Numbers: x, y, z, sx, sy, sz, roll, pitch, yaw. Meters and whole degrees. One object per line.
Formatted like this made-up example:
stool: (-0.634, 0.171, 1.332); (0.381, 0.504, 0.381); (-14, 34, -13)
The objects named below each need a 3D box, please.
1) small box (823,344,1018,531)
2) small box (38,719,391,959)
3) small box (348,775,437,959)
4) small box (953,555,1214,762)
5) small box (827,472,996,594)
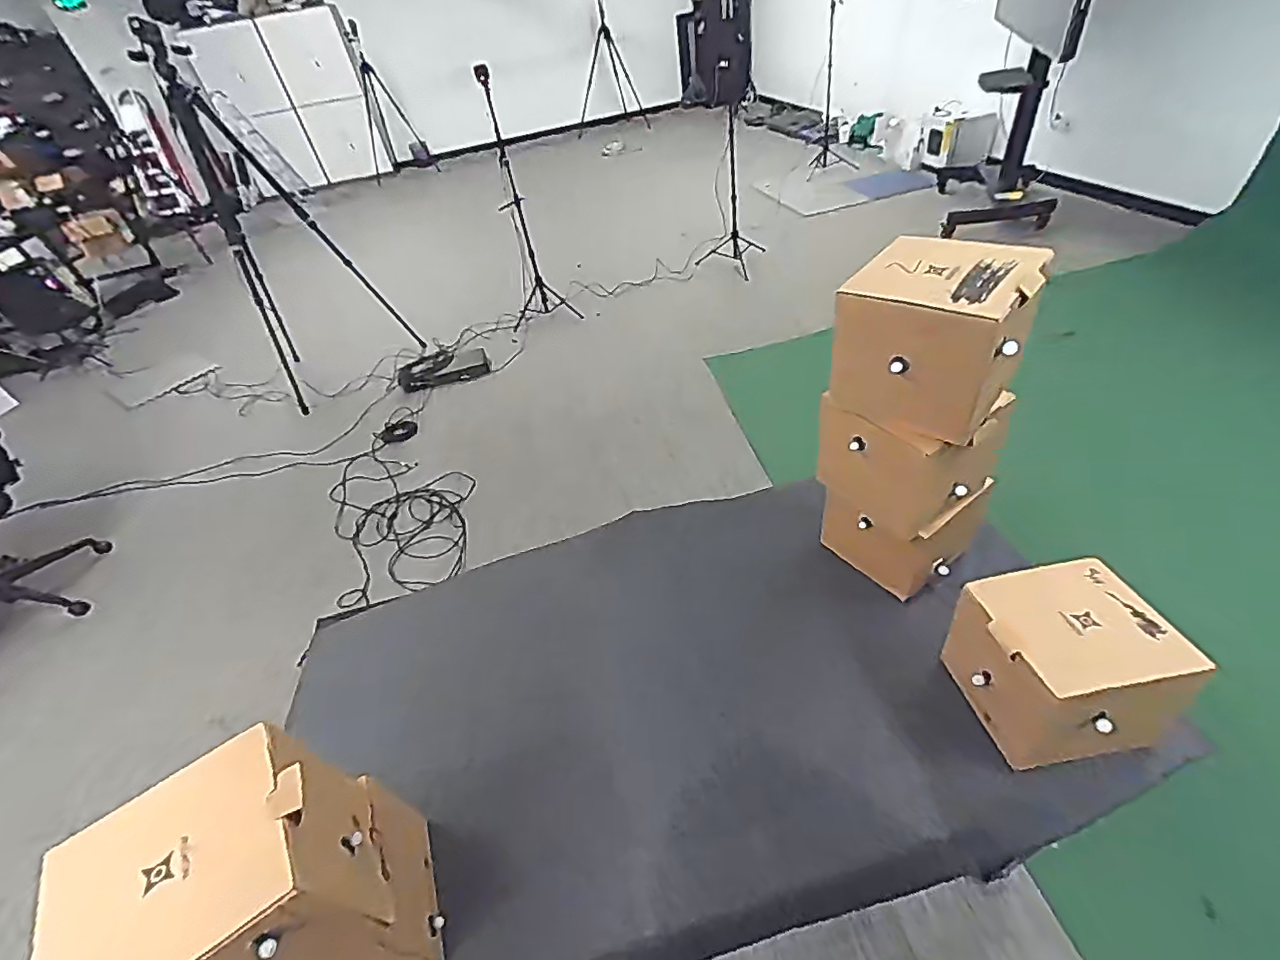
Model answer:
small box: (0.380, -0.061, 0.770); (0.168, 0.176, 0.179); (-30, 46, -15)
small box: (-0.358, 0.362, 0.478); (0.179, 0.176, 0.168); (-31, 47, -21)
small box: (-0.341, 0.470, 0.598); (0.179, 0.176, 0.168); (-23, 44, -12)
small box: (0.518, 0.223, 0.671); (0.179, 0.176, 0.168); (-12, 38, 1)
small box: (0.428, 0.050, 0.884); (0.168, 0.176, 0.179); (-33, 48, -18)
